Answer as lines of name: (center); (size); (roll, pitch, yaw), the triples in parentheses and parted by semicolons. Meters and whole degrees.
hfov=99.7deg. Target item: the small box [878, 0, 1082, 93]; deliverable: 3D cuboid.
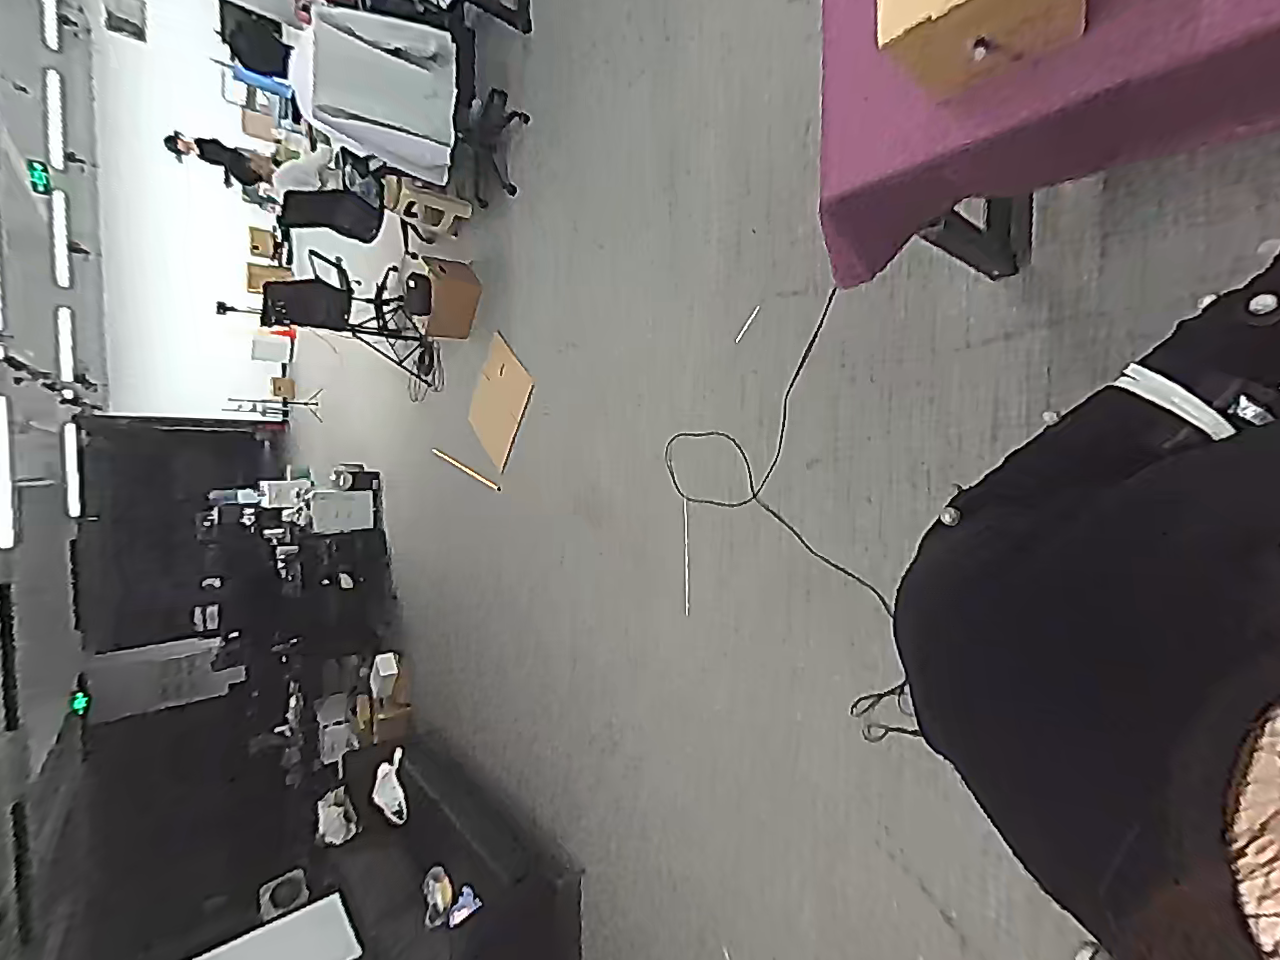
small box: (0.401, -0.598, 0.635); (0.168, 0.176, 0.179); (4, 95, 50)
